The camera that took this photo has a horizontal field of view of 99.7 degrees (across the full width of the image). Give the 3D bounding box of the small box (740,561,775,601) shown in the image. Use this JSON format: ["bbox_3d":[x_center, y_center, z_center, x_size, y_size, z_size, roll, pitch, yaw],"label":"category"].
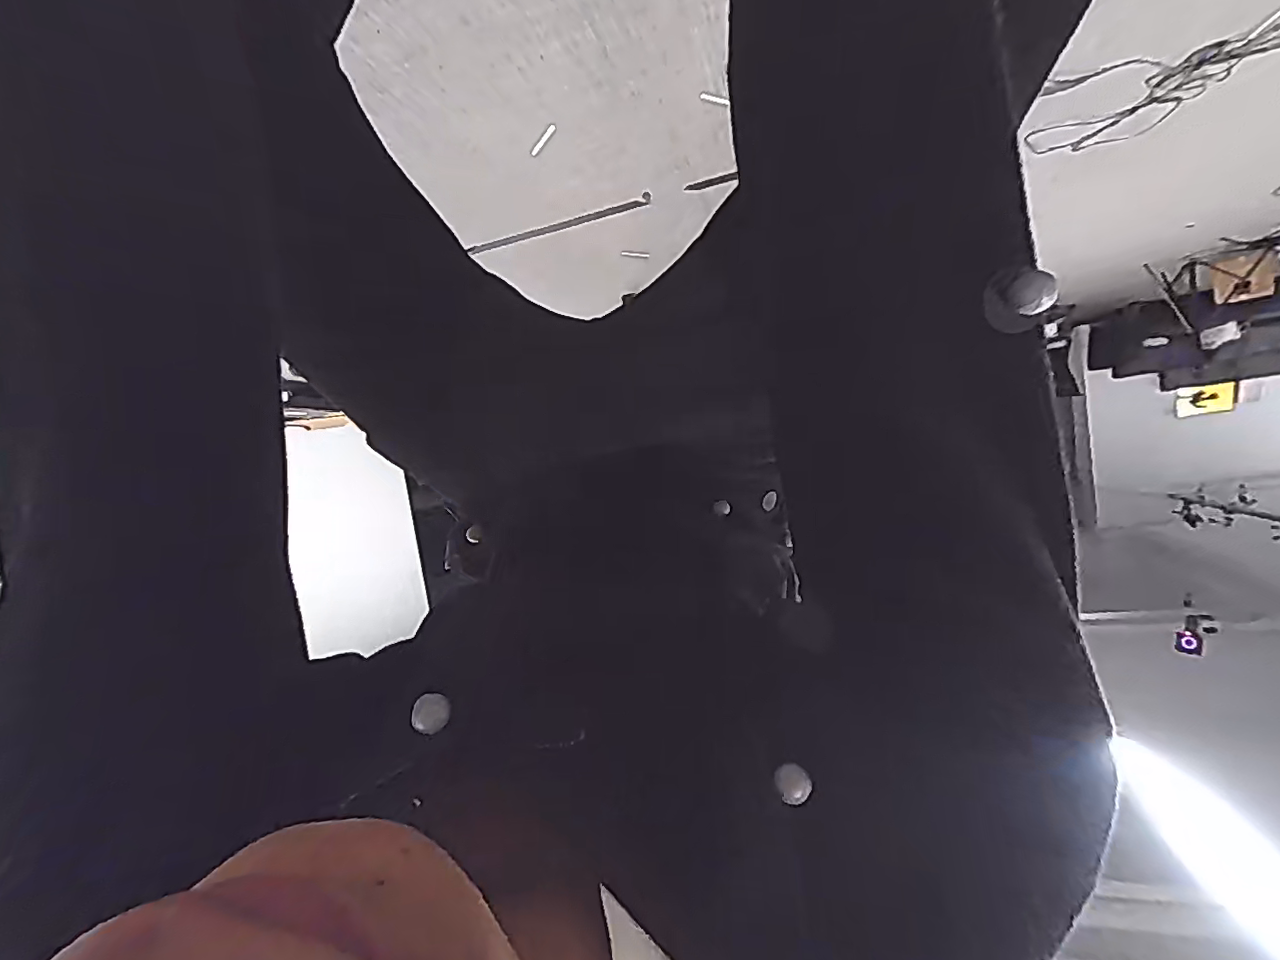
[{"bbox_3d":[0.645,0.546,2.953,0.168,0.176,0.179,-8,-175,17],"label":"small box"}]
